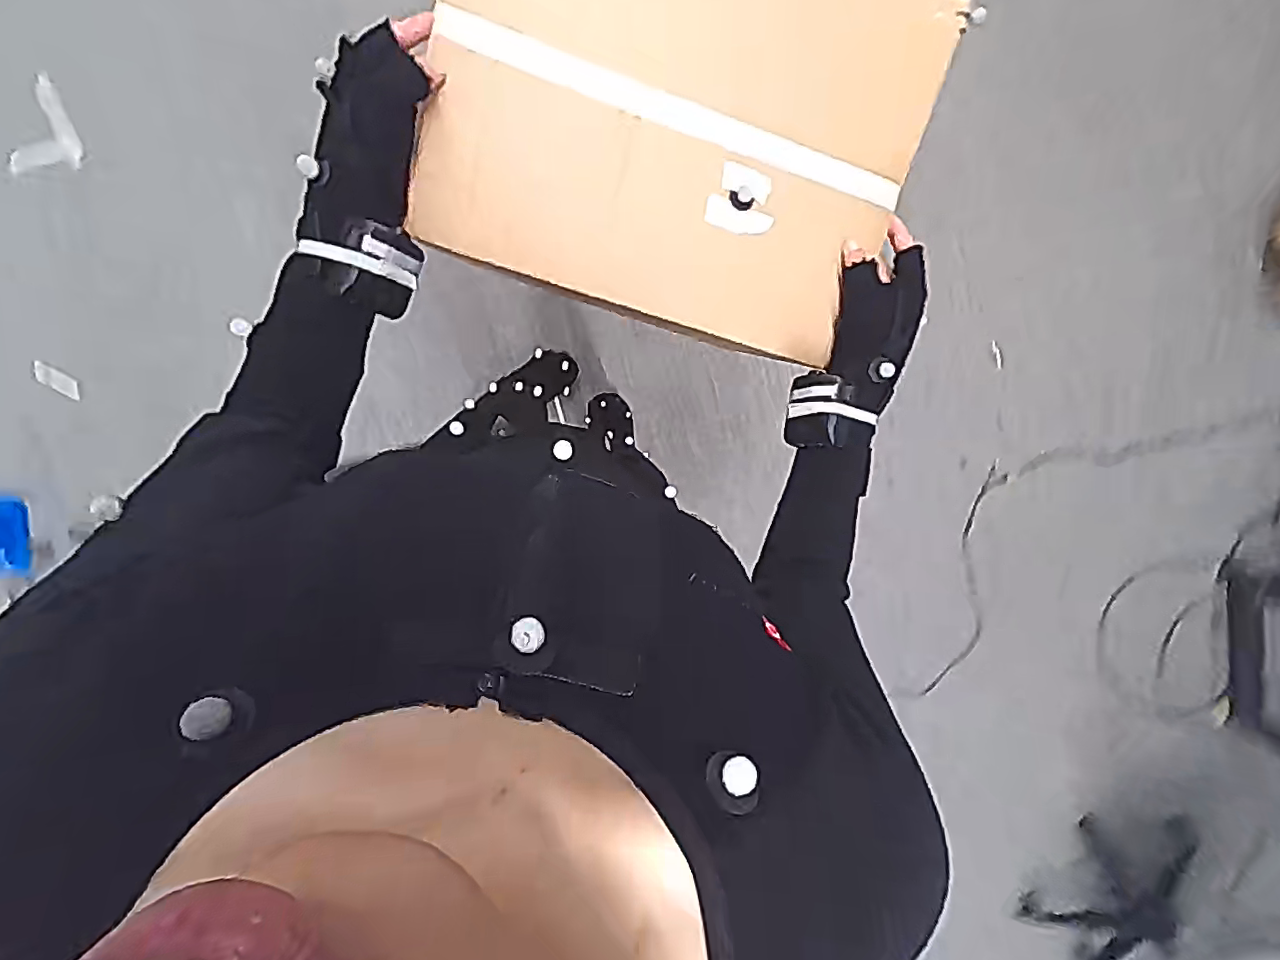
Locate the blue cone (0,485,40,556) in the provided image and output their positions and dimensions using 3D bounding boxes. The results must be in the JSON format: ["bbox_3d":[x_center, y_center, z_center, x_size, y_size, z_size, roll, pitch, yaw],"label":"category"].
[{"bbox_3d":[-1.646,0.136,1.238,0.192,0.380,0.193,6,101,-5],"label":"blue cone"}]
